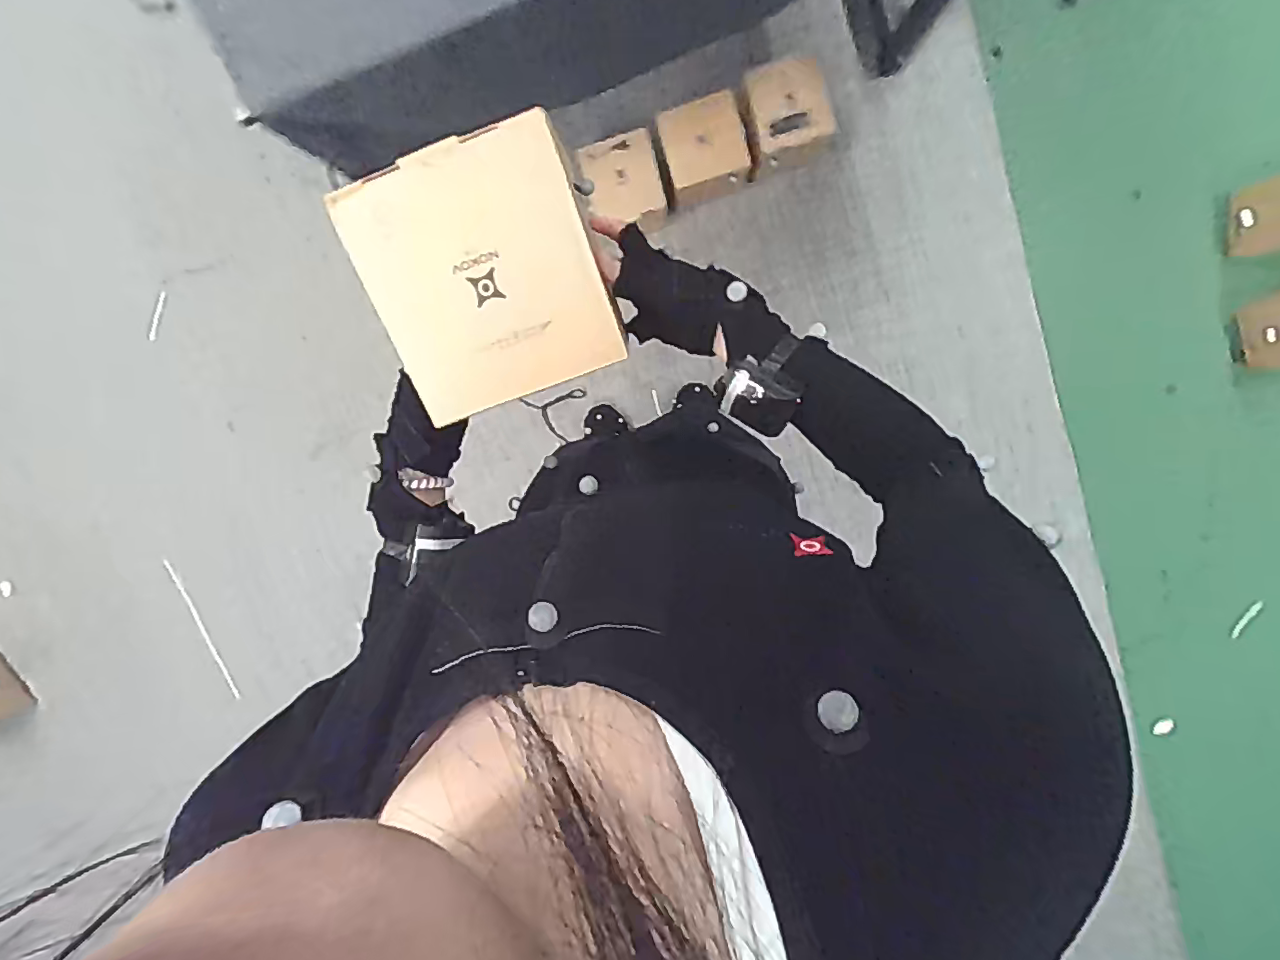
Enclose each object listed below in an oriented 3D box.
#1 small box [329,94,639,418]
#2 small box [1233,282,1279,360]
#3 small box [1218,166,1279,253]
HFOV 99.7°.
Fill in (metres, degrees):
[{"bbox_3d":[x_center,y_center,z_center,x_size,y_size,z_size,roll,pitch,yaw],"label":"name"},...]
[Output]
[{"bbox_3d":[-0.107,-0.175,0.453,0.168,0.176,0.179,-18,111,5],"label":"small box"},{"bbox_3d":[1.578,-0.391,1.282,0.179,0.176,0.168,-21,99,5],"label":"small box"},{"bbox_3d":[1.508,-0.637,1.243,0.179,0.176,0.168,-8,99,5],"label":"small box"}]
